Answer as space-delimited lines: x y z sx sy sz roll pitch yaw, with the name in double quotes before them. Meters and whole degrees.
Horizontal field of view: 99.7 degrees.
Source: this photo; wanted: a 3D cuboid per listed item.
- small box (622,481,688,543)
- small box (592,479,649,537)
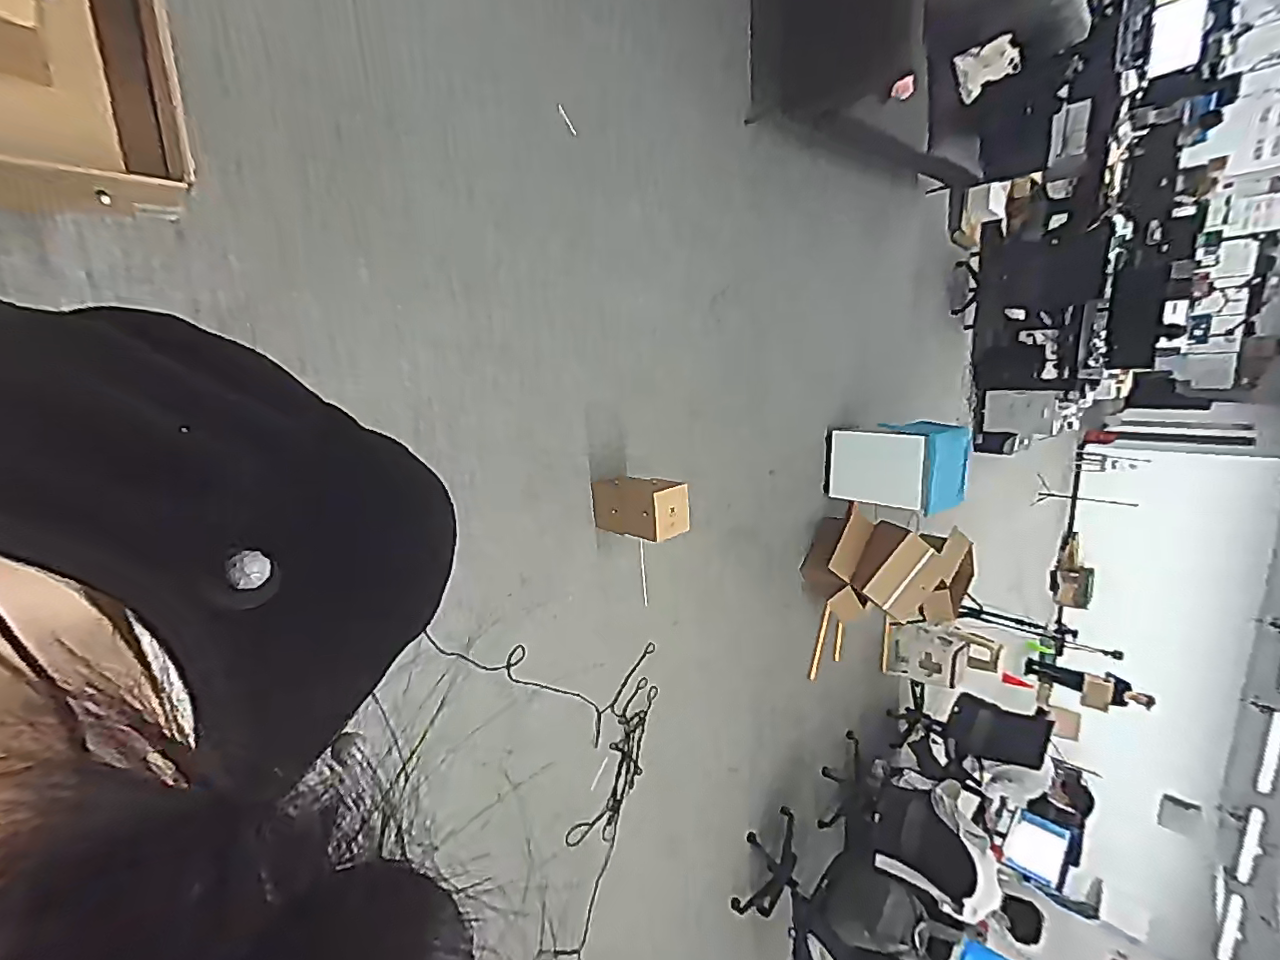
"small box" 0.050 0.104 1.886 0.168 0.176 0.179 -15 107 -41
"small box" -0.063 0.095 2.006 0.168 0.176 0.179 -15 108 -41
